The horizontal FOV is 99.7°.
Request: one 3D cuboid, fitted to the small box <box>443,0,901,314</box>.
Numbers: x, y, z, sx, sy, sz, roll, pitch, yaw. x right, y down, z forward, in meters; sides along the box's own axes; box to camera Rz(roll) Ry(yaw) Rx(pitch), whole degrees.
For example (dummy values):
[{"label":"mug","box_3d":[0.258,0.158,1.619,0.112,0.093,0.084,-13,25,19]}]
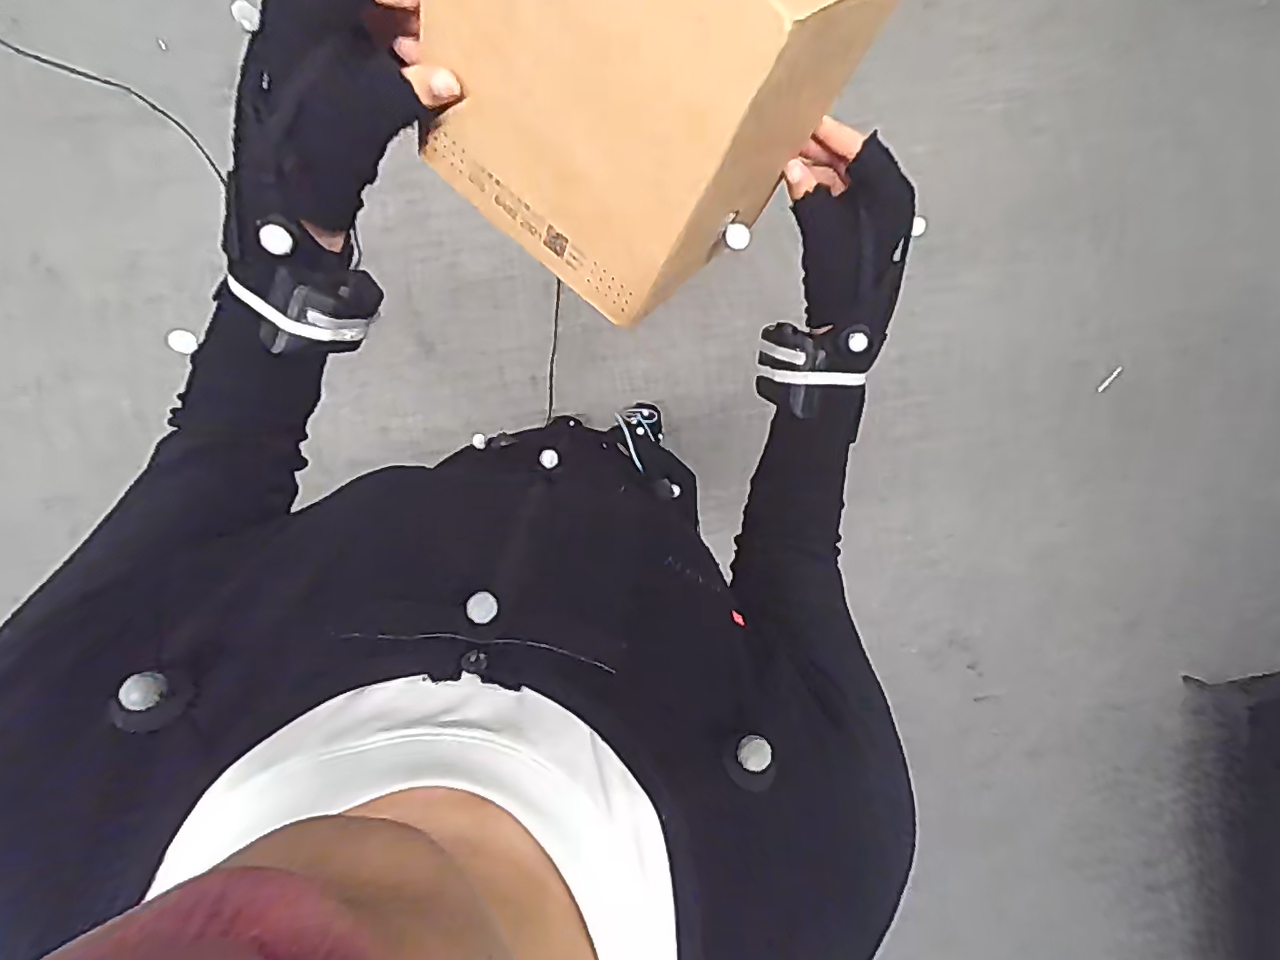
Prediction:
[{"label":"small box","box_3d":[0.009,-0.234,0.307,0.168,0.176,0.179,41,56,0]}]
